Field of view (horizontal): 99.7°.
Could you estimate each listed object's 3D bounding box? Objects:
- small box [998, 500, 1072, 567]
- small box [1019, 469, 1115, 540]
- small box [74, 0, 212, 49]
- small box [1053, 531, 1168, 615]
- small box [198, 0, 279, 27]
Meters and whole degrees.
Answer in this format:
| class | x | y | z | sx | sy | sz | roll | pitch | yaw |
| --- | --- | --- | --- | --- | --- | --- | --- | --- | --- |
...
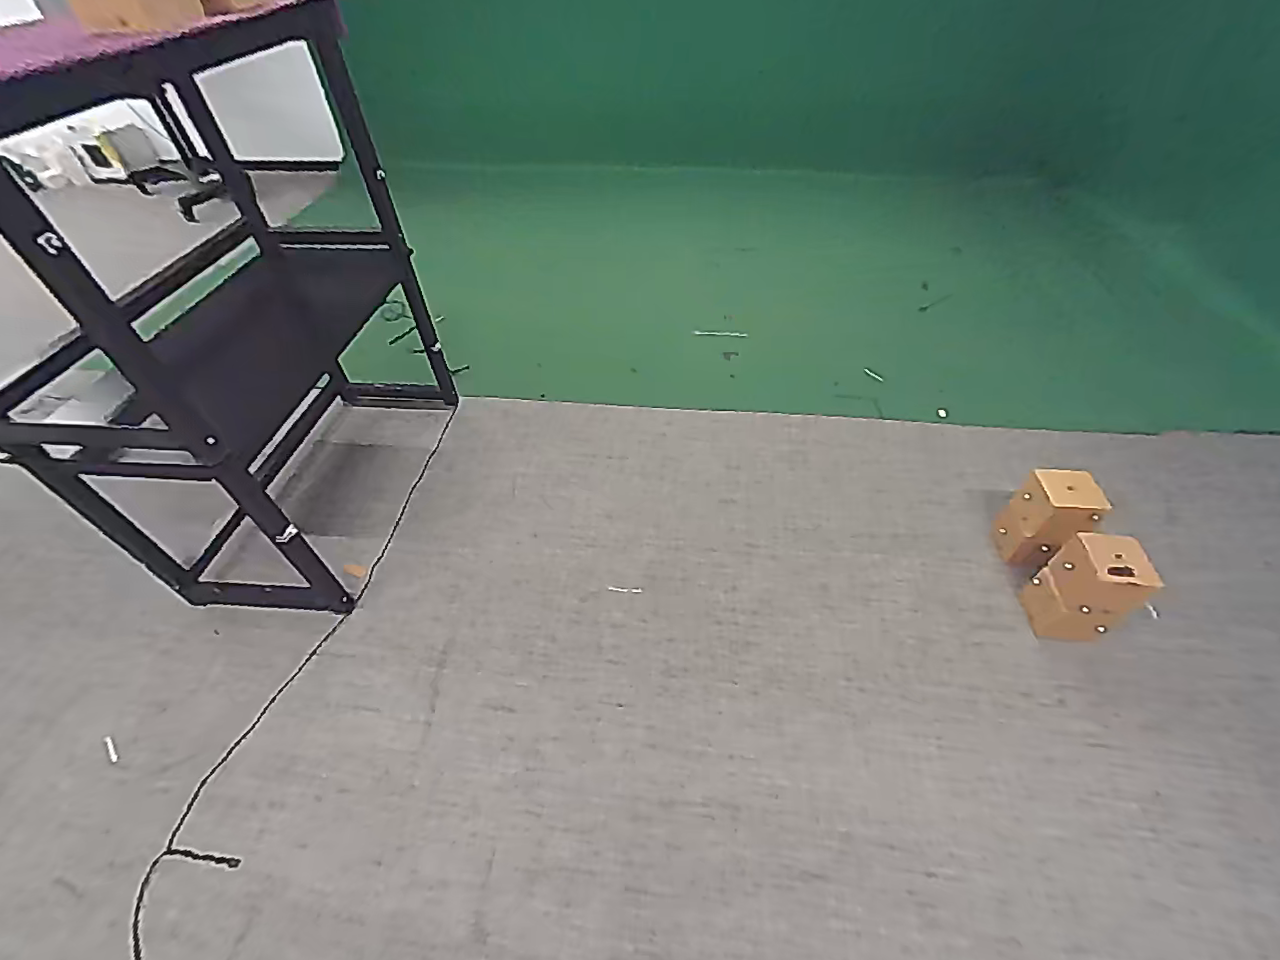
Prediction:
| class | x | y | z | sx | sy | sz | roll | pitch | yaw |
| --- | --- | --- | --- | --- | --- | --- | --- | --- | --- |
| small box | 1.394 | 0.191 | 1.898 | 0.179 | 0.176 | 0.168 | 5 | 48 | 7 |
| small box | 1.389 | 0.082 | 1.779 | 0.179 | 0.176 | 0.168 | 3 | 47 | 5 |
| small box | -1.097 | -1.057 | 1.176 | 0.168 | 0.176 | 0.179 | 4 | 48 | 7 |
| small box | 1.373 | 0.278 | 1.593 | 0.168 | 0.176 | 0.179 | 6 | 47 | 7 |
| small box | -1.081 | -1.283 | 1.387 | 0.168 | 0.176 | 0.179 | 5 | 48 | 8 |
